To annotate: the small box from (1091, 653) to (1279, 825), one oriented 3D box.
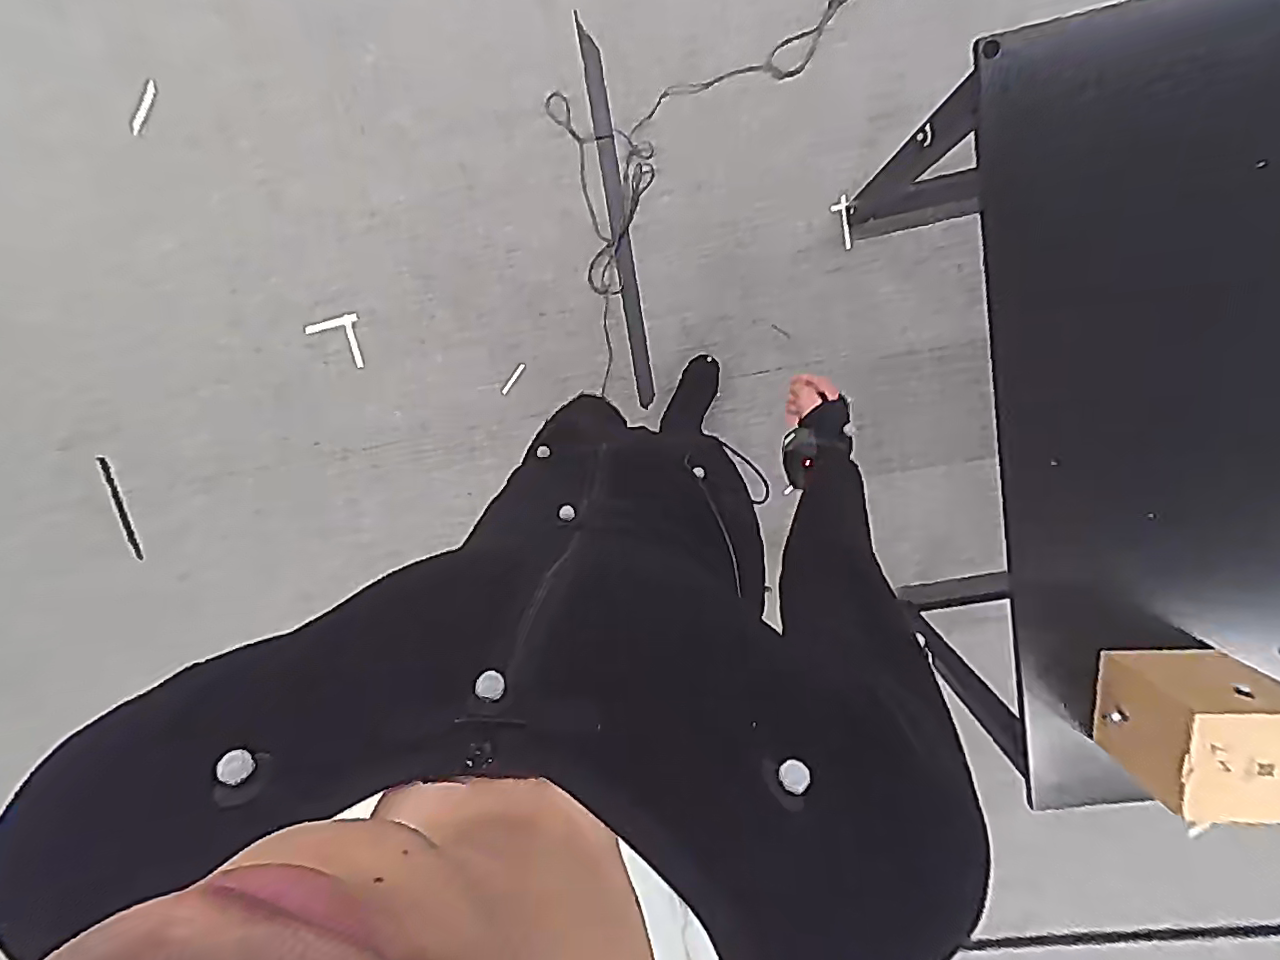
[{"bbox_3d":[0.821,0.367,0.792,0.179,0.176,0.168,-2,100,6],"label":"small box"}]
